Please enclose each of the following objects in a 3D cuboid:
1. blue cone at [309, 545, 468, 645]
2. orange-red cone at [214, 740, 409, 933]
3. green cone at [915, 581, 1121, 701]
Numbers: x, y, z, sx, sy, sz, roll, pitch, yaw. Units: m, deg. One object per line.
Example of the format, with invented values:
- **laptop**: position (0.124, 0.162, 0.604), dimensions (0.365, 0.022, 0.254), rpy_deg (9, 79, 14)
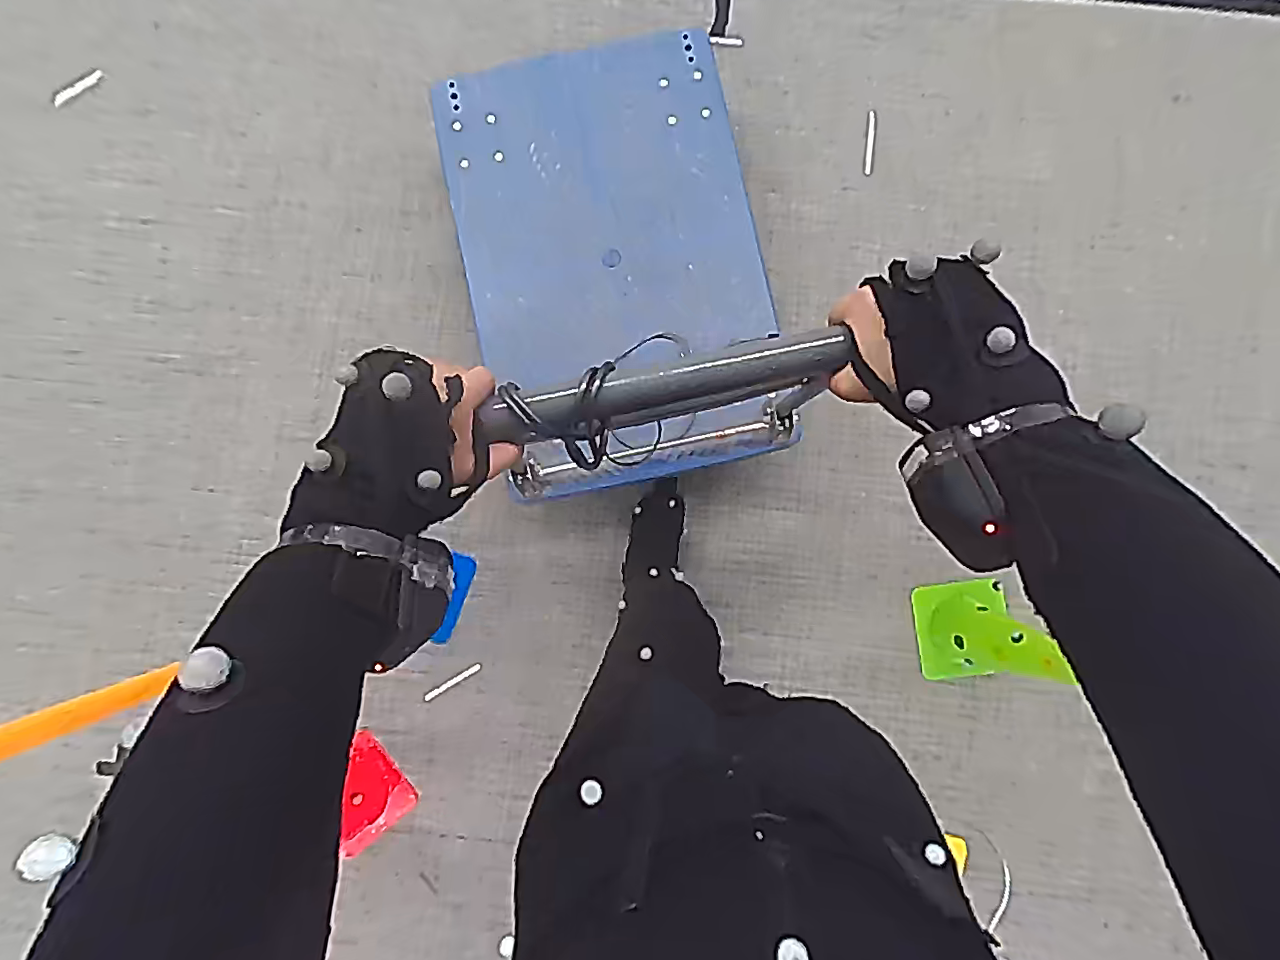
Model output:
- **blue cone**: position (-0.487, 0.238, 1.017), dimensions (0.193, 0.380, 0.192), rpy_deg (21, 87, 2)
- **orange-red cone**: position (-0.611, 0.661, 0.970), dimensions (0.199, 0.360, 0.198), rpy_deg (-39, 87, -4)
- **green cone**: position (0.692, 0.314, 0.981), dimensions (0.200, 0.368, 0.202), rpy_deg (-8, 87, 0)
